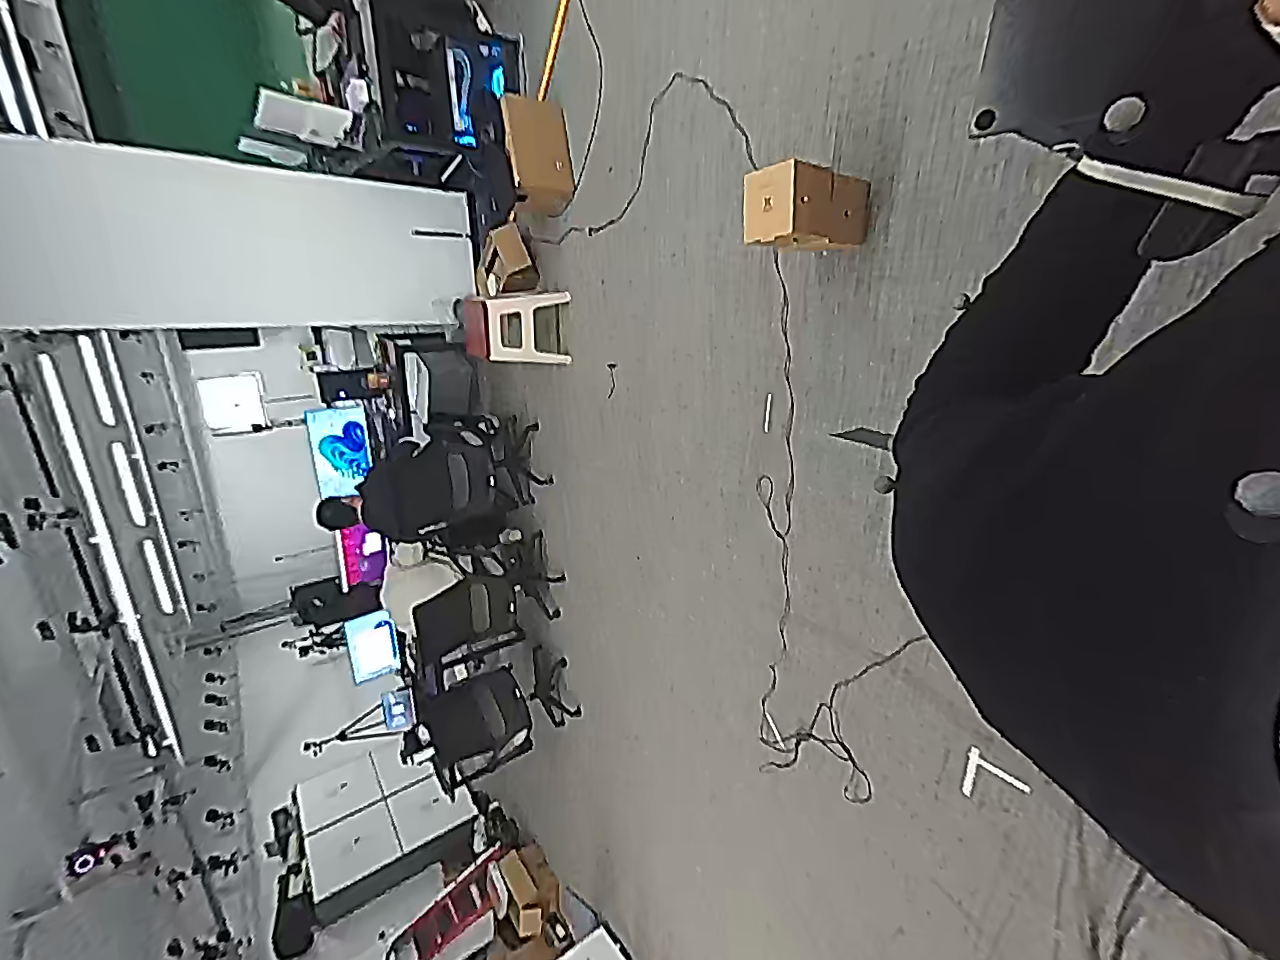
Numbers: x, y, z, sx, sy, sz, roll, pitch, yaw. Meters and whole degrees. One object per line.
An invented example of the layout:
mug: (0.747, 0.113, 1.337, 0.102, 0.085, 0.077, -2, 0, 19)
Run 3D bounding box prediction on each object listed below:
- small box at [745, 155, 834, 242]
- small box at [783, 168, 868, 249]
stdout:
small box: (0.403, -0.747, 1.457, 0.168, 0.176, 0.179, 16, 113, 51)
small box: (0.534, -0.771, 1.552, 0.168, 0.176, 0.179, 20, 117, 50)
